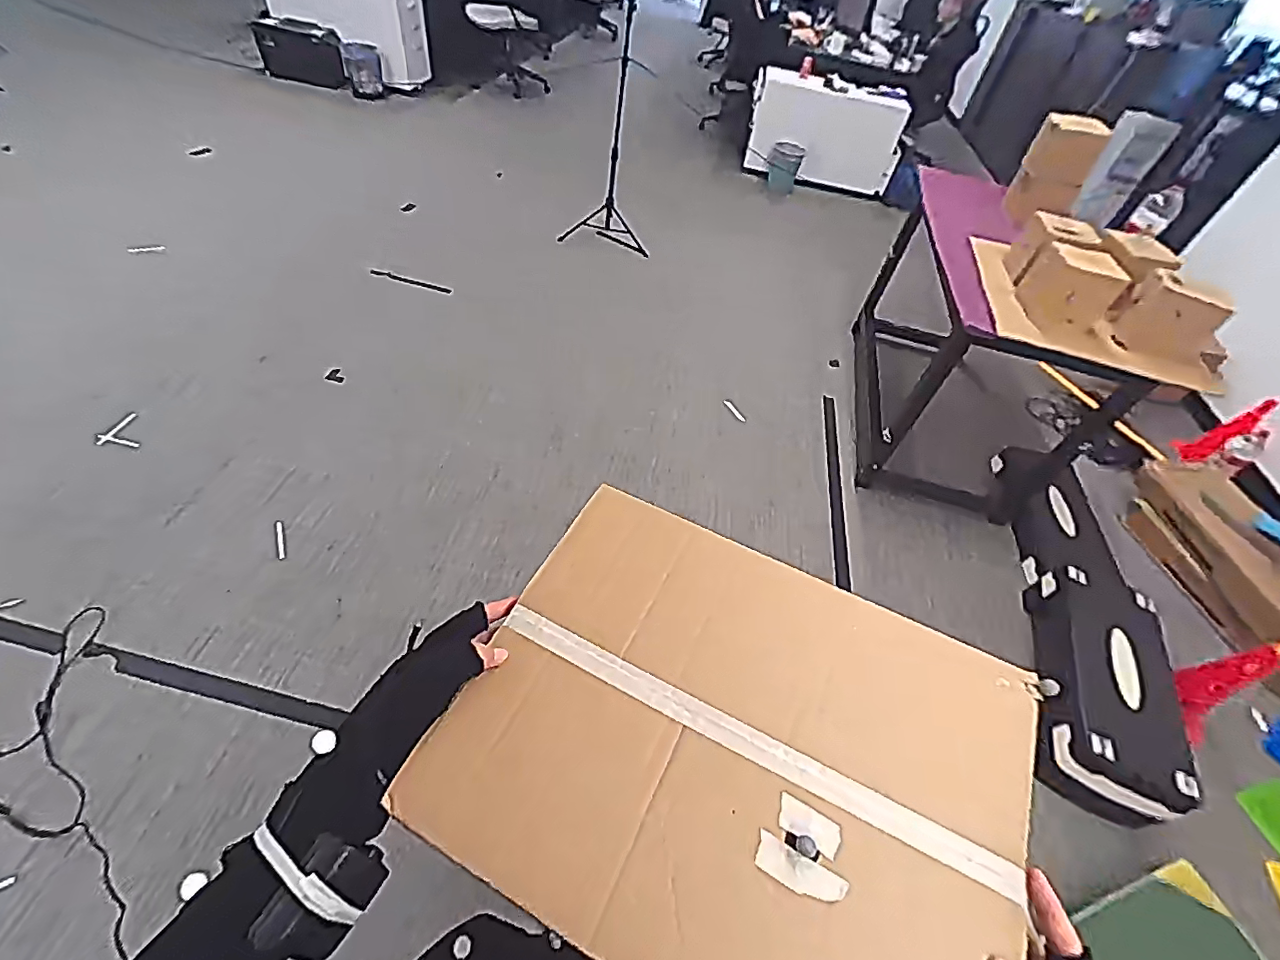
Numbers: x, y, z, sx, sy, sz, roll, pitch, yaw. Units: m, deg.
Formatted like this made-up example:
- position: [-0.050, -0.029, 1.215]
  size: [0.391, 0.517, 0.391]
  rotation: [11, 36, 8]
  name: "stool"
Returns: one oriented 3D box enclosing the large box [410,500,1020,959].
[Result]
- position: [0.070, 0.287, 0.539]
  size: [0.408, 0.320, 0.320]
  rotation: [24, 56, 15]
  name: "large box"
